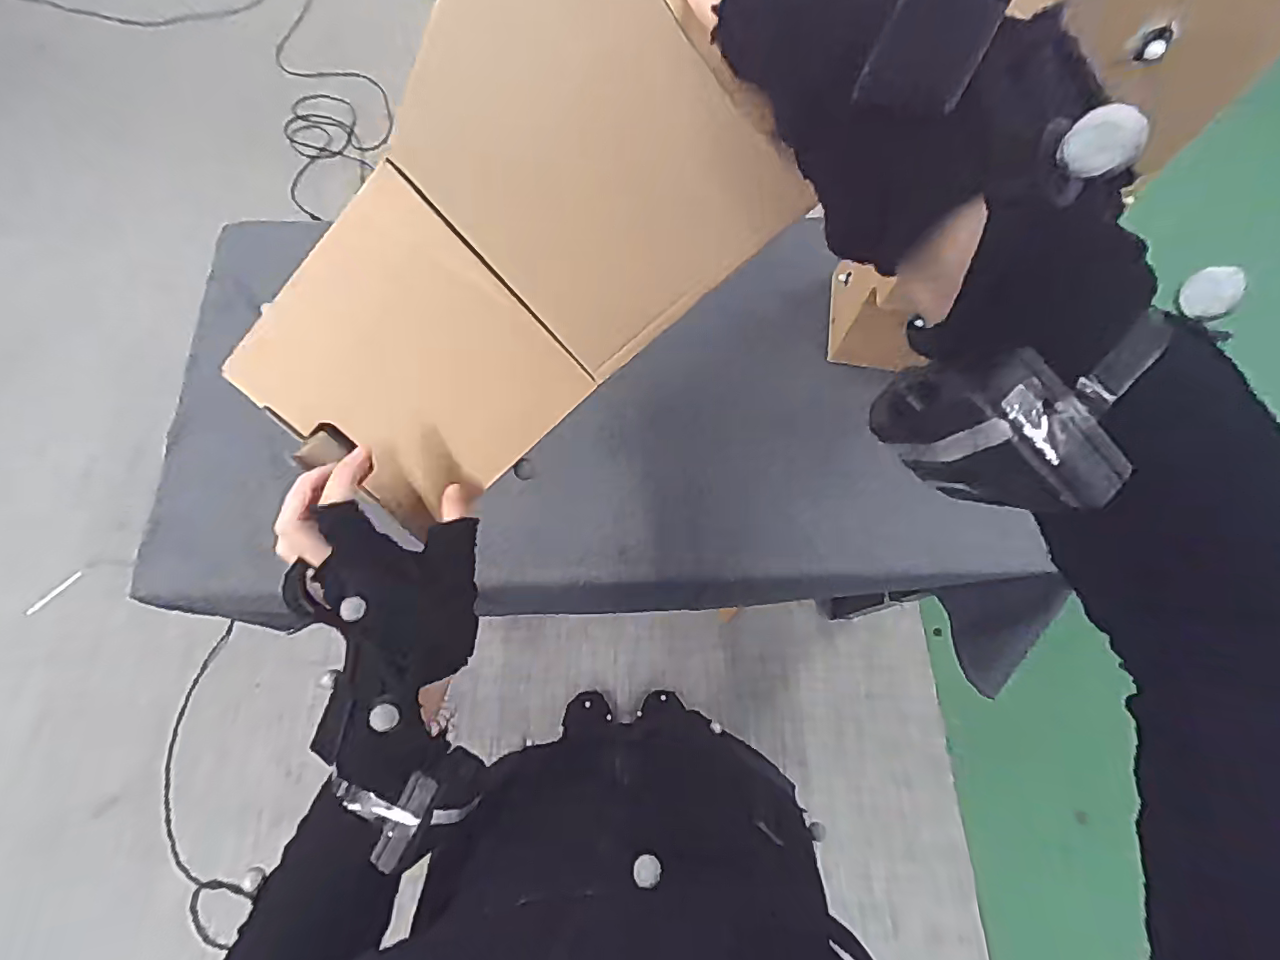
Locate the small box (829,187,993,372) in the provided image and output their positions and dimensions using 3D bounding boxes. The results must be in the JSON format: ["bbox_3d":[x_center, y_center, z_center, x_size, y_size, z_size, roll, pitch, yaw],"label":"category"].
[{"bbox_3d":[0.378,-0.270,0.754,0.179,0.176,0.168,10,71,2],"label":"small box"}]

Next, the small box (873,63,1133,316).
[{"bbox_3d":[0.371,-0.309,0.594,0.168,0.176,0.179,4,71,1],"label":"small box"}]

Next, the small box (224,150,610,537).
[{"bbox_3d":[-0.136,-0.098,0.401,0.179,0.176,0.168,-39,105,17],"label":"small box"}]
